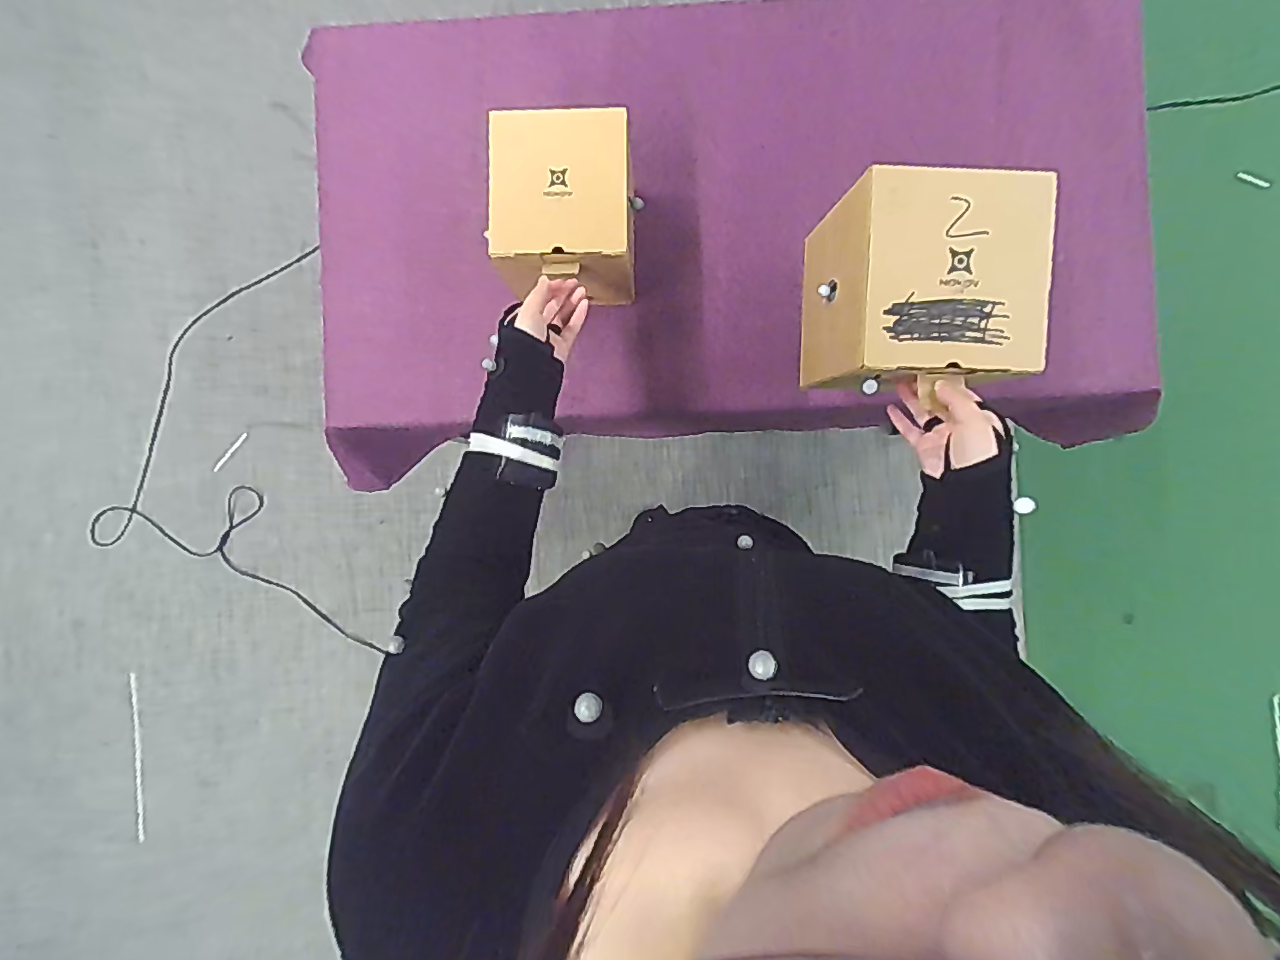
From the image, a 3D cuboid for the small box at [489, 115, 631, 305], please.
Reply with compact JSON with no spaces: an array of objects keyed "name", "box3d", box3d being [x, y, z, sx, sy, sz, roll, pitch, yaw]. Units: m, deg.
[{"name":"small box","box3d":[-0.099,-0.353,0.731,0.168,0.176,0.179,0,89,1]}]
